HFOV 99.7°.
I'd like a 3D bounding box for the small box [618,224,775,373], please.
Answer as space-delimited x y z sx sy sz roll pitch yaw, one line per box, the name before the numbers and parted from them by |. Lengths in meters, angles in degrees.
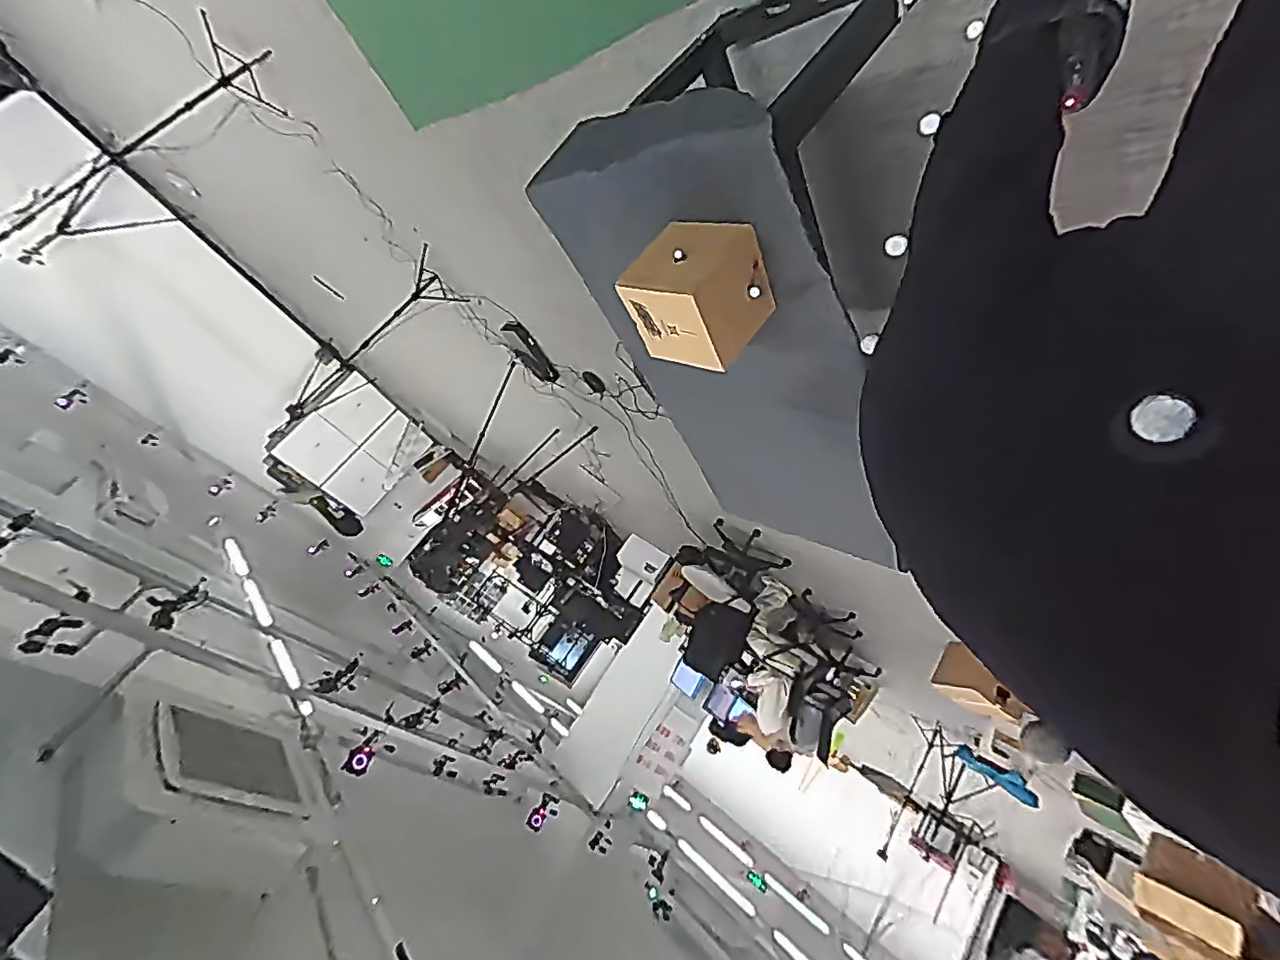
small box | 0.101 -0.314 0.922 0.179 0.176 0.168 24 160 40
